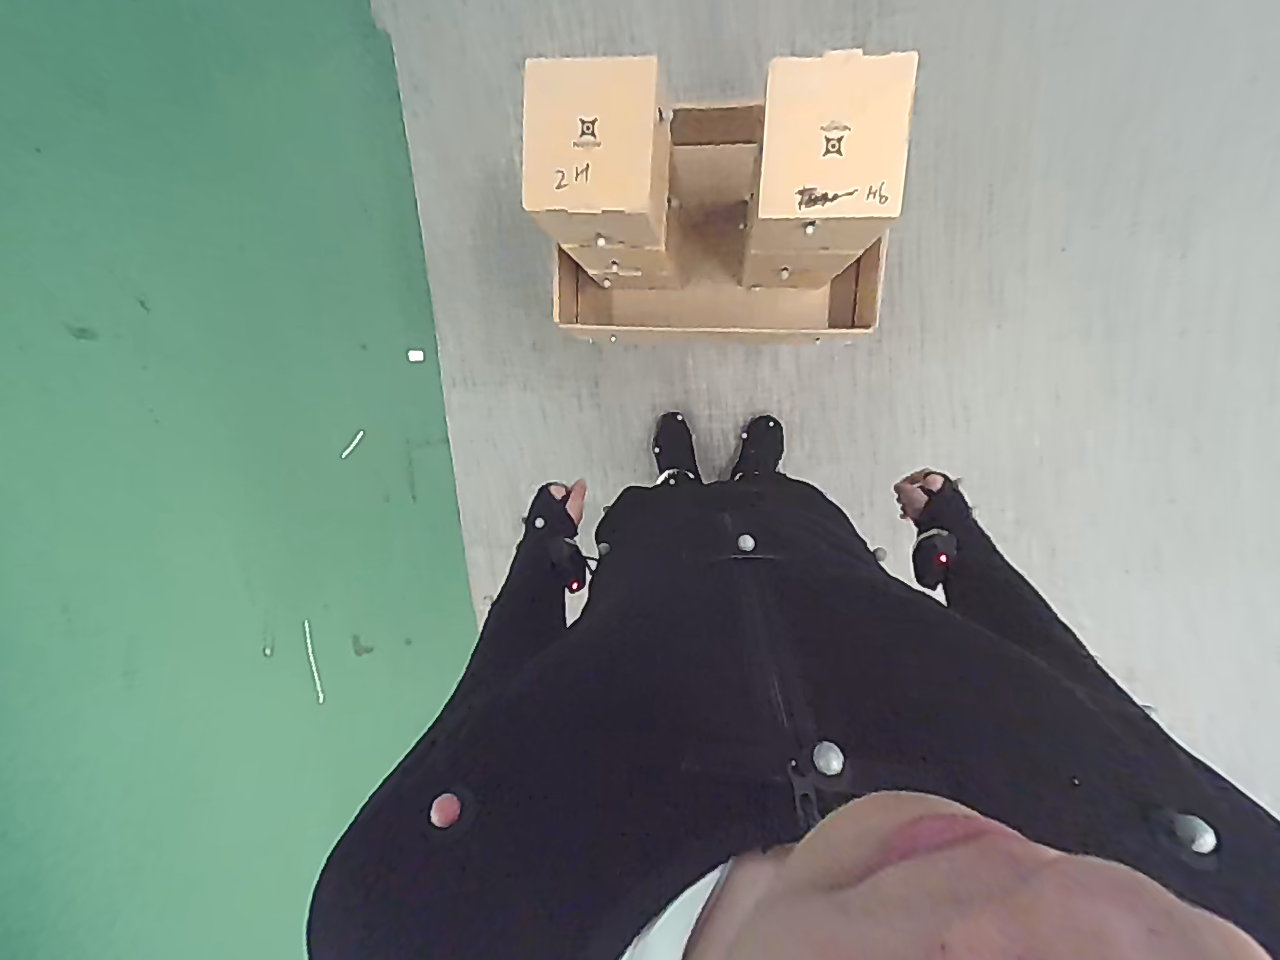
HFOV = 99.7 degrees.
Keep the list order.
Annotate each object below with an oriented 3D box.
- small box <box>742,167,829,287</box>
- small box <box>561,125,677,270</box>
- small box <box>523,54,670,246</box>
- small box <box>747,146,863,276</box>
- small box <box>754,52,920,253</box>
[{"bbox_3d":[0.285,-0.470,1.023,0.168,0.176,0.179,5,100,7],"label":"small box"},{"bbox_3d":[-0.028,-0.463,0.904,0.168,0.176,0.179,5,101,7],"label":"small box"},{"bbox_3d":[-0.051,-0.439,0.742,0.168,0.176,0.179,6,100,8],"label":"small box"},{"bbox_3d":[0.262,-0.438,0.865,0.168,0.176,0.179,4,101,8],"label":"small box"},{"bbox_3d":[0.240,-0.411,0.704,0.168,0.176,0.179,4,100,9],"label":"small box"}]
